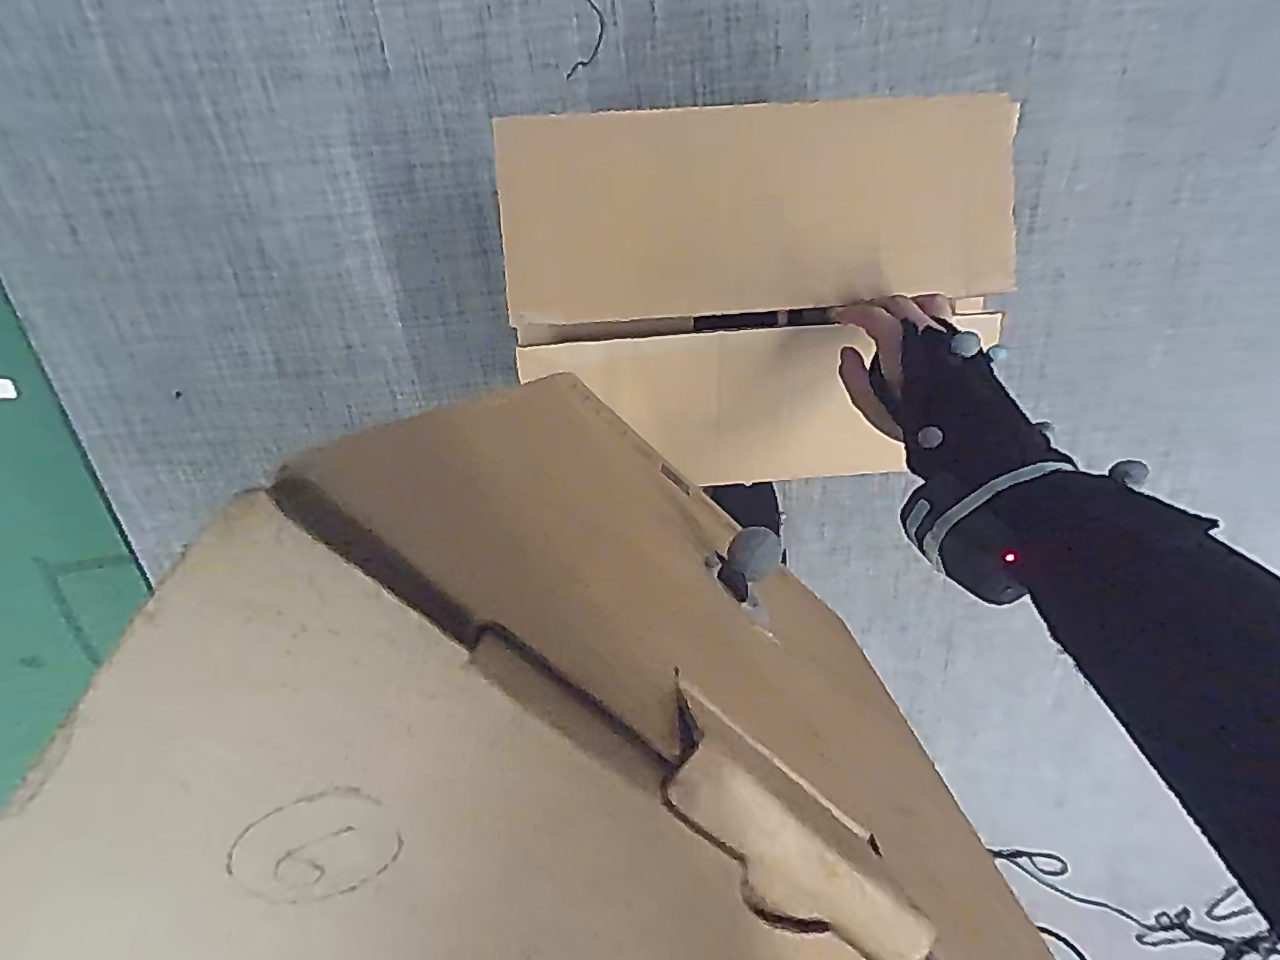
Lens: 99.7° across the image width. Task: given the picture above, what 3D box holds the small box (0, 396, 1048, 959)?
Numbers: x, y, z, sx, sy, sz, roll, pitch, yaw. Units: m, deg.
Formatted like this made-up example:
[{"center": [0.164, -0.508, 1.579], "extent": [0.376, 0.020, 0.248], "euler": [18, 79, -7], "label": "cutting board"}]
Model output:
[{"center": [-0.034, 0.092, 0.165], "extent": [0.168, 0.176, 0.179], "euler": [42, 102, -8], "label": "small box"}]
